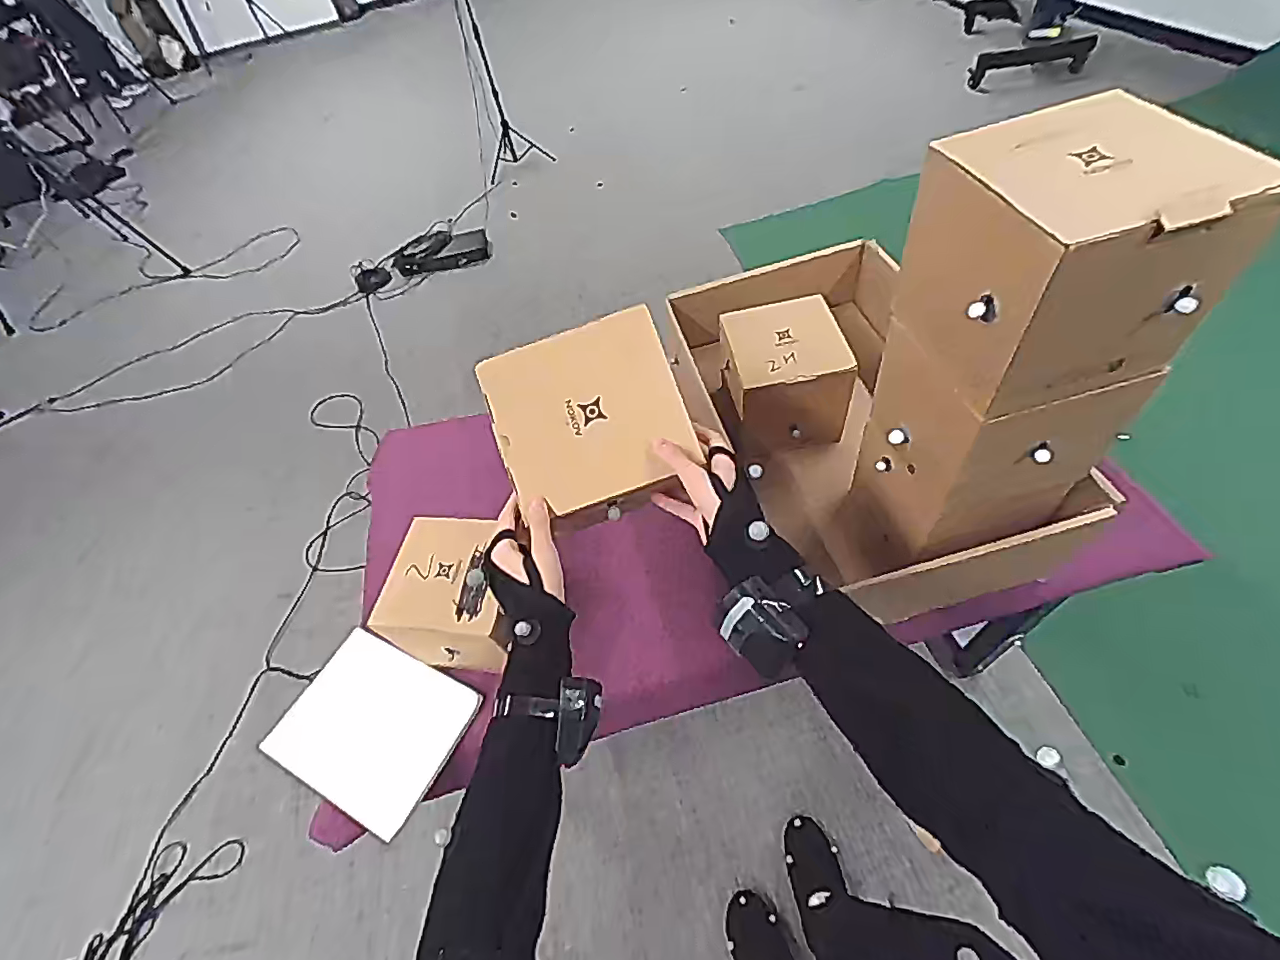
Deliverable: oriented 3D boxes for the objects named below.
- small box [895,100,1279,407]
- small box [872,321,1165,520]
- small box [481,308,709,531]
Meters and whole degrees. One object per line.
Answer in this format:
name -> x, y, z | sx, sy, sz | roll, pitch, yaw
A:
small box -> 0.348, -0.182, 0.465 | 0.168, 0.176, 0.179 | -15, 51, 1
small box -> 0.380, -0.082, 0.589 | 0.179, 0.176, 0.168 | -16, 52, 2
small box -> -0.039, -0.050, 0.579 | 0.179, 0.176, 0.168 | -20, 81, 2
